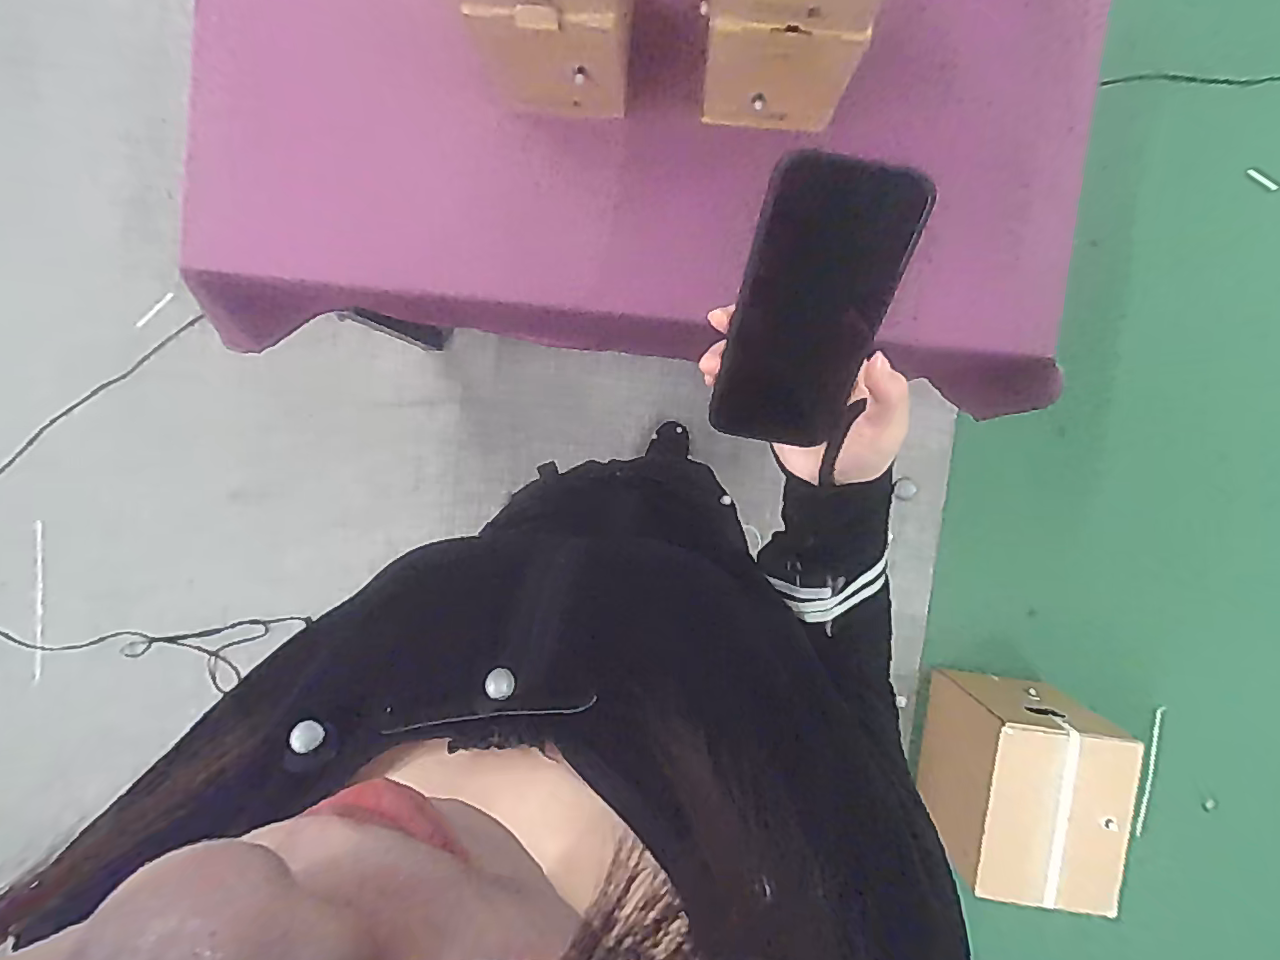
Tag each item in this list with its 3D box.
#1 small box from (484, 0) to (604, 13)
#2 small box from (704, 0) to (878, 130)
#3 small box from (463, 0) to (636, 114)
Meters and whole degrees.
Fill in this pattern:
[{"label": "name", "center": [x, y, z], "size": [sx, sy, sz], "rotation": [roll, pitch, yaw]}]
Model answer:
[{"label": "small box", "center": [-0.109, -0.573, 0.475], "size": [0.168, 0.176, 0.179], "rotation": [5, 94, 1]}, {"label": "small box", "center": [0.170, -0.552, 0.631], "size": [0.168, 0.176, 0.179], "rotation": [6, 95, 2]}, {"label": "small box", "center": [-0.095, -0.572, 0.640], "size": [0.168, 0.176, 0.179], "rotation": [6, 93, 1]}]
